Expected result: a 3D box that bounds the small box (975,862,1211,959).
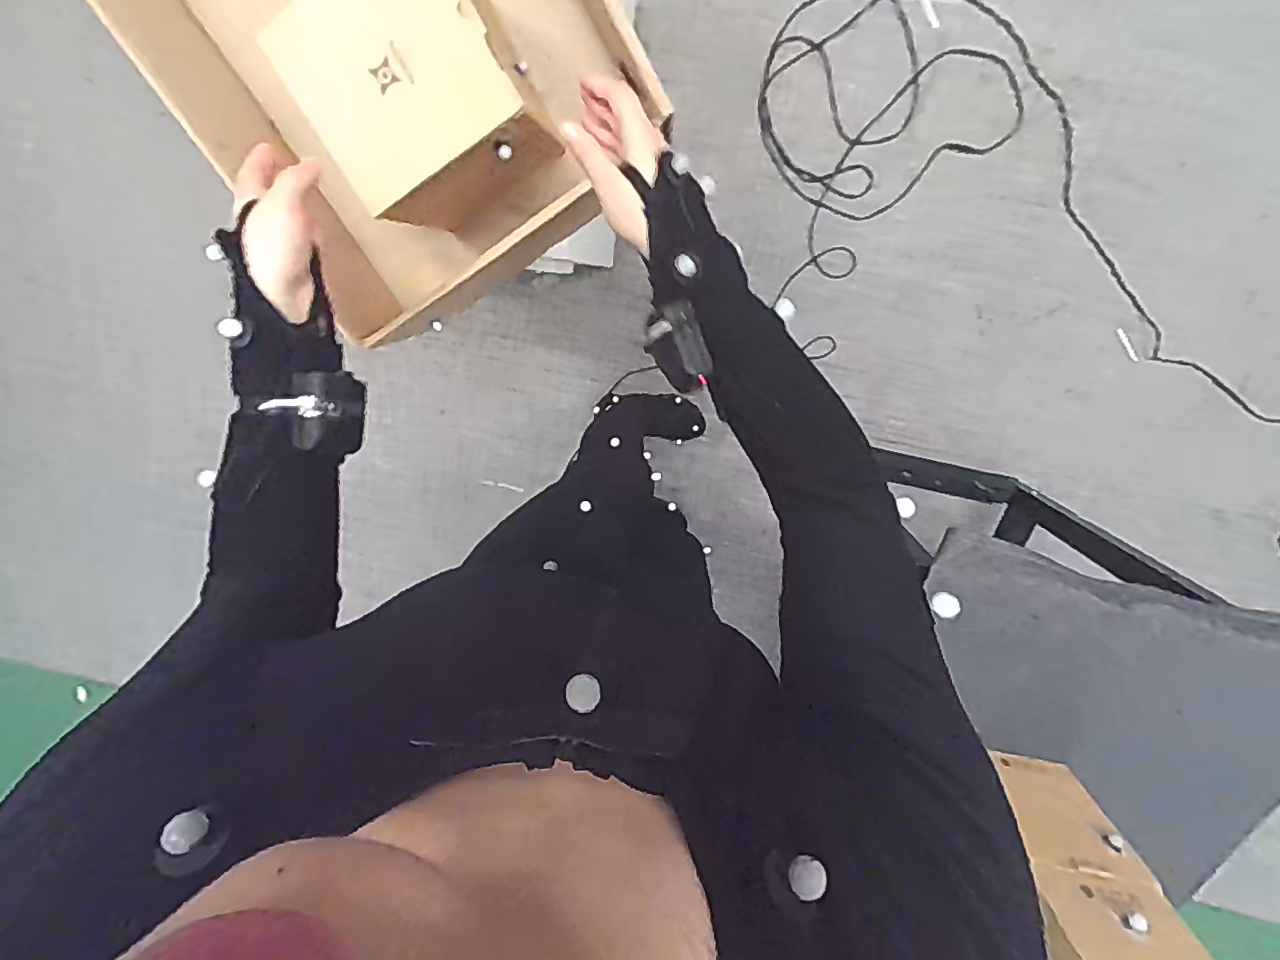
[{"bbox_3d":[0.493,0.553,0.567,0.168,0.176,0.179,12,110,-1],"label":"small box"}]
